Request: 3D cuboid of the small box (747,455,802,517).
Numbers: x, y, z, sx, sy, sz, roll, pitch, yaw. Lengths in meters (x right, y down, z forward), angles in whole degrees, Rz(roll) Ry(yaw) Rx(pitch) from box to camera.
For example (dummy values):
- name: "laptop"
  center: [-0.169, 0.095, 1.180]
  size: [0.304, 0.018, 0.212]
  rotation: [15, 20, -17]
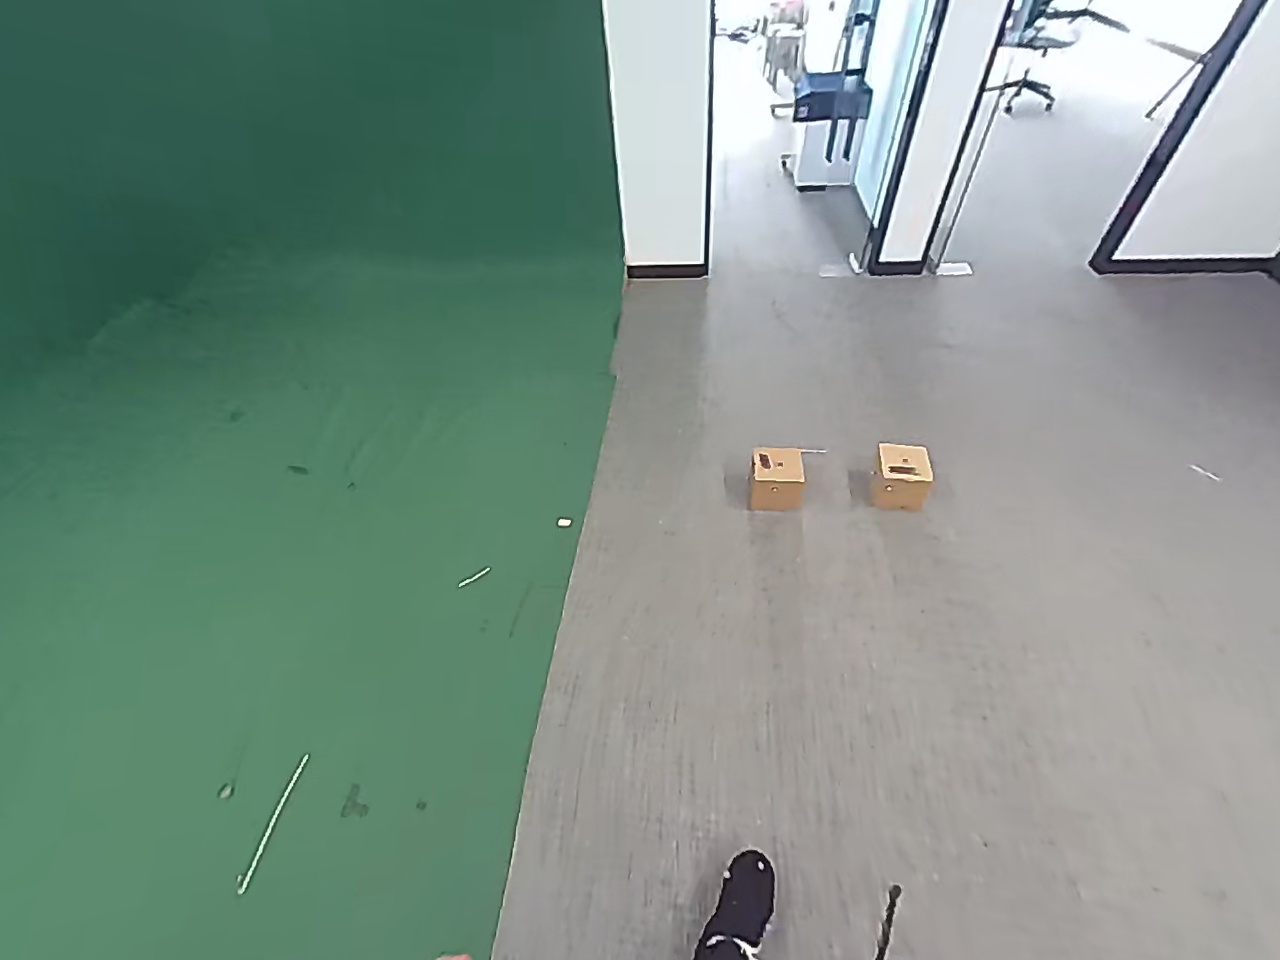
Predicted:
- name: "small box"
  center: [0.494, 0.024, 2.014]
  size: [0.179, 0.176, 0.168]
  rotation: [2, 48, 5]
